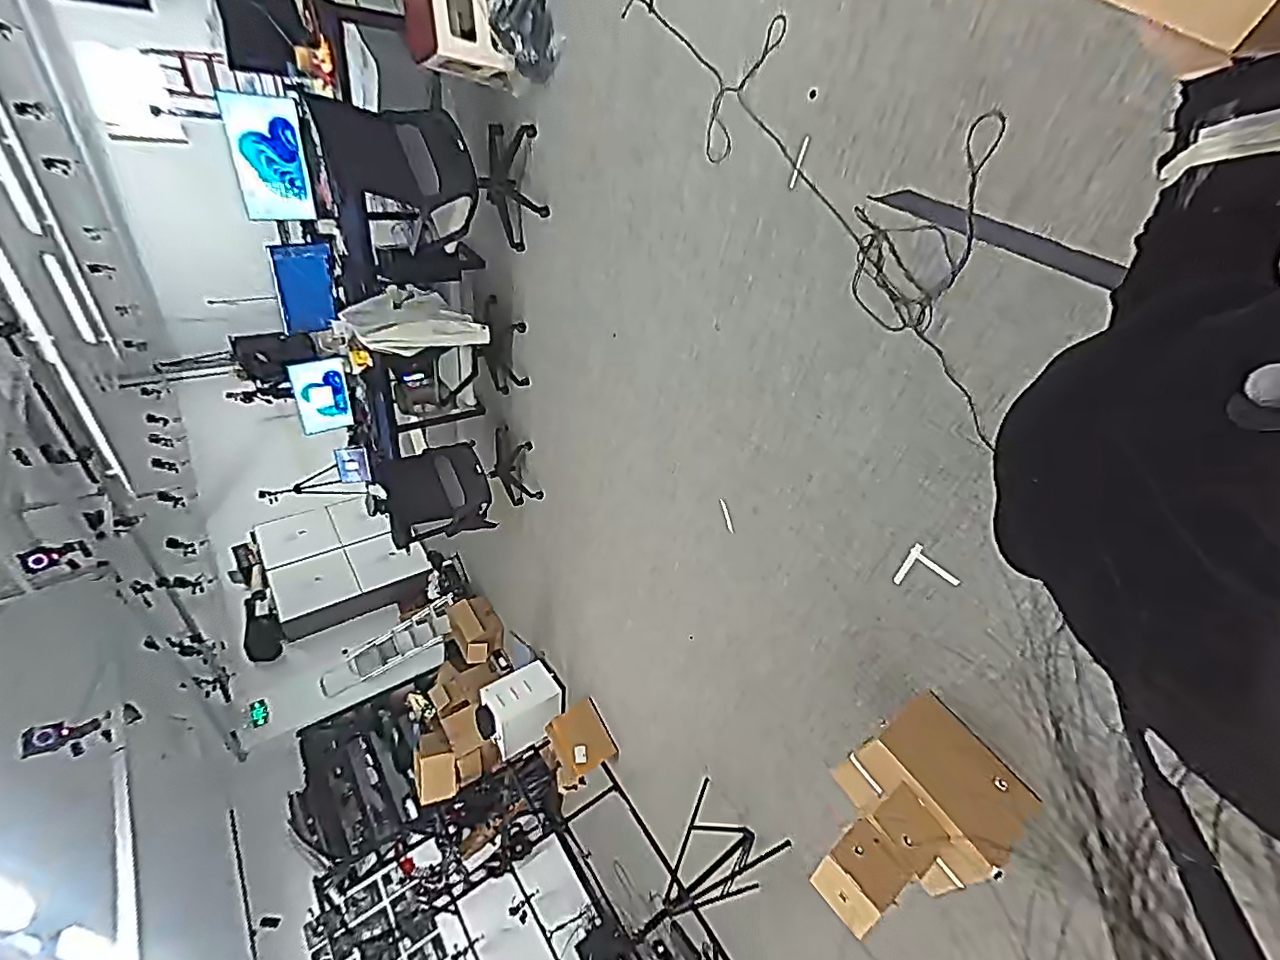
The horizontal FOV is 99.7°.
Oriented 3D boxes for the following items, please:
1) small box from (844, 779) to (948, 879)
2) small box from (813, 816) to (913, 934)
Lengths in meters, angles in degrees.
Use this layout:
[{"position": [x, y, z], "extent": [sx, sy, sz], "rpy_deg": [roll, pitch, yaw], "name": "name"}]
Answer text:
[{"position": [0.732, 1.000, 1.544], "extent": [0.179, 0.176, 0.168], "rpy_deg": [52, 142, 28], "name": "small box"}, {"position": [0.604, 1.060, 1.462], "extent": [0.168, 0.176, 0.179], "rpy_deg": [40, 136, 40], "name": "small box"}]
